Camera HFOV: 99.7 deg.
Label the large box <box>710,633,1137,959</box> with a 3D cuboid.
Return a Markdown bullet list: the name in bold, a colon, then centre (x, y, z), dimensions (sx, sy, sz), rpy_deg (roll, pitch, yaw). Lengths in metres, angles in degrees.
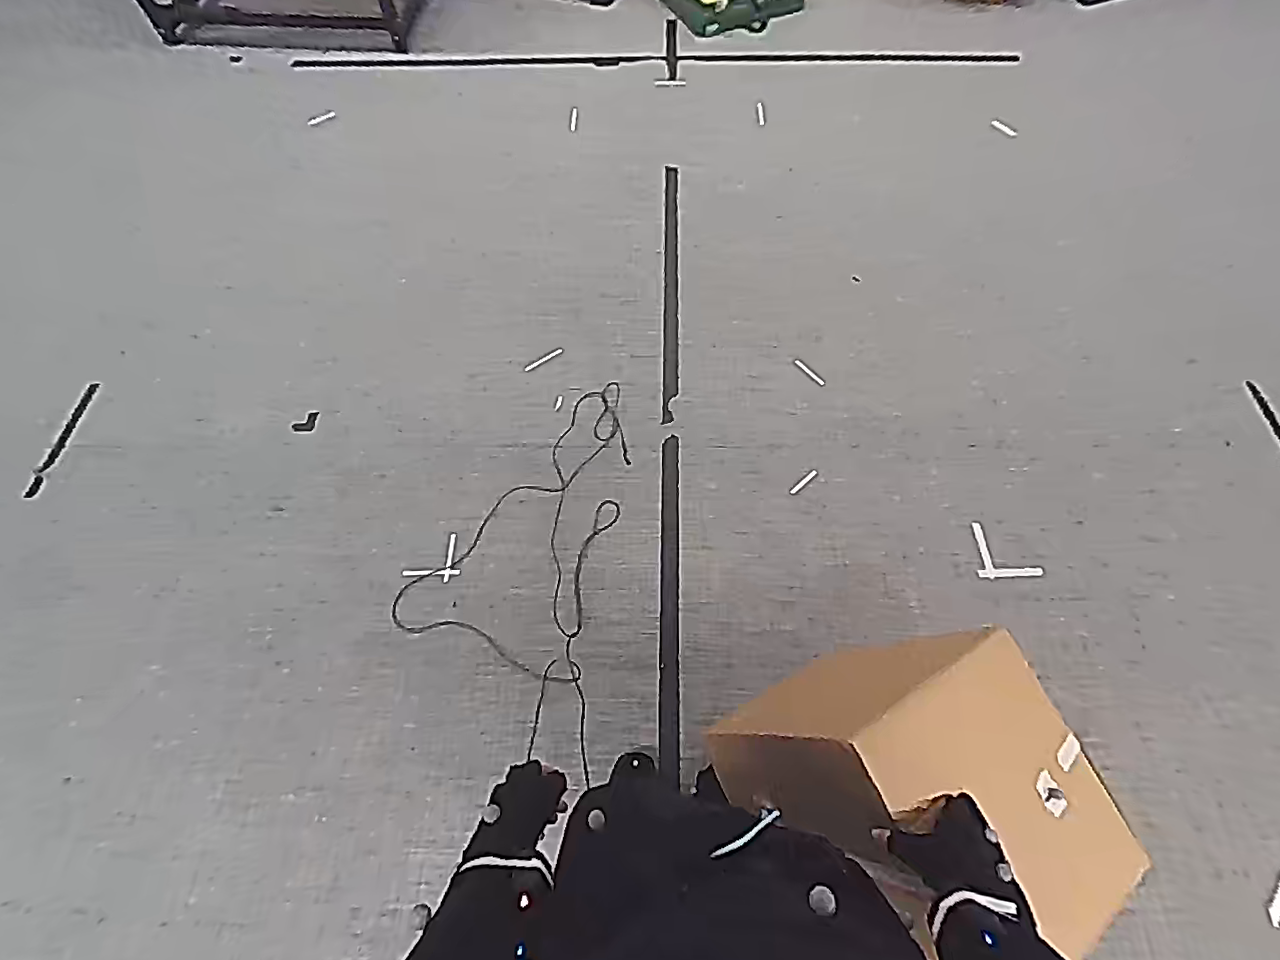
- **large box**: centre (0.371, 0.462, 0.810), dimensions (0.320, 0.408, 0.320), rpy_deg (-20, 74, -24)
